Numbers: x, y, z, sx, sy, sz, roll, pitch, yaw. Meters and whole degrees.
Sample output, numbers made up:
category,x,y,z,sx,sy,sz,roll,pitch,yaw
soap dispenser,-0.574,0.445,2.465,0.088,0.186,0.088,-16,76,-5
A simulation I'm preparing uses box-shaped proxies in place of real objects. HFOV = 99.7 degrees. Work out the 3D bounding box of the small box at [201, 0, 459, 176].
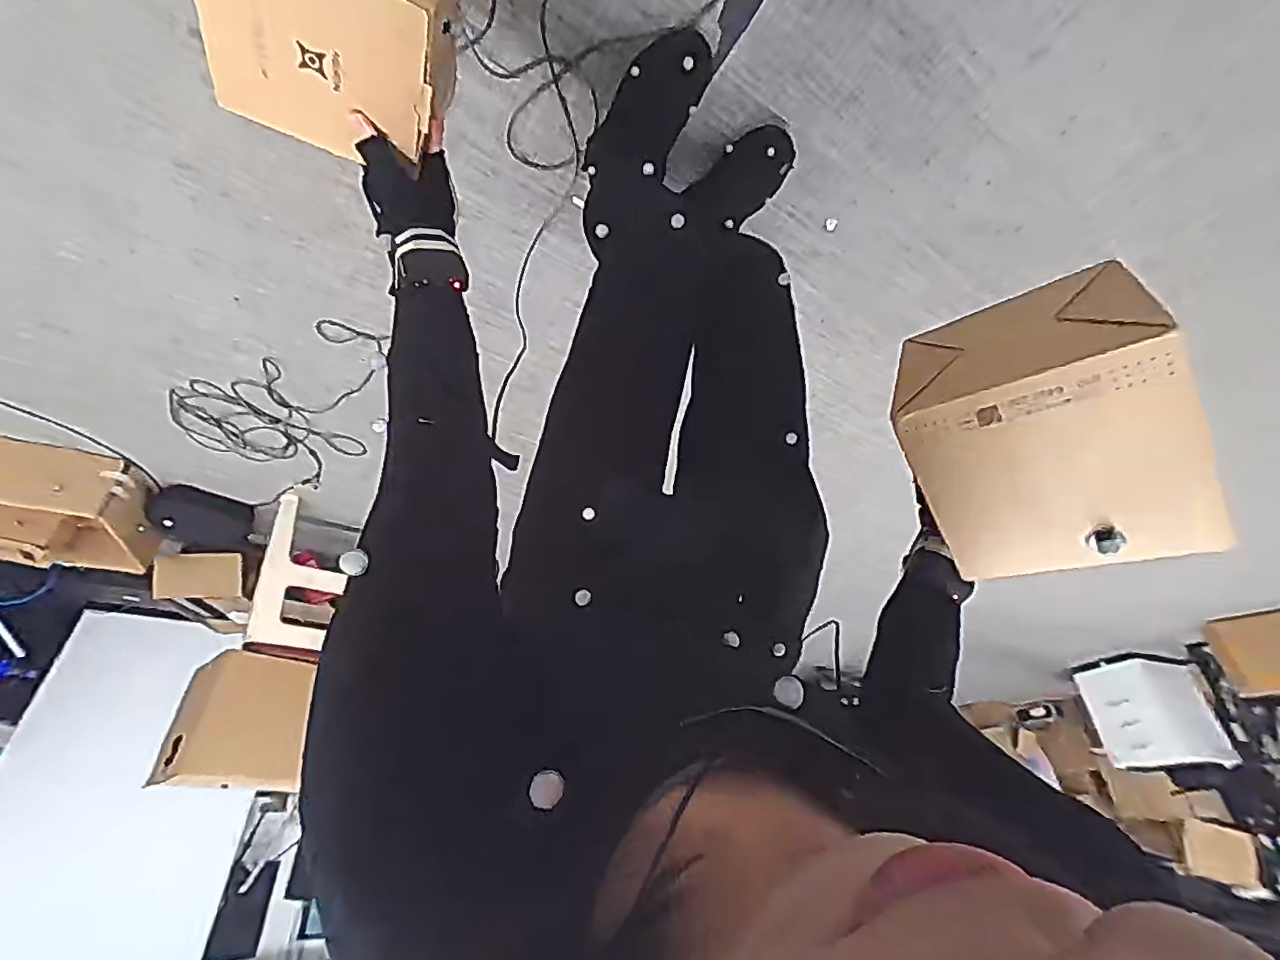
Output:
category,x,y,z,sx,sy,sz,roll,pitch,yaw
small box,-0.273,-0.438,0.505,0.179,0.176,0.168,15,149,-20
